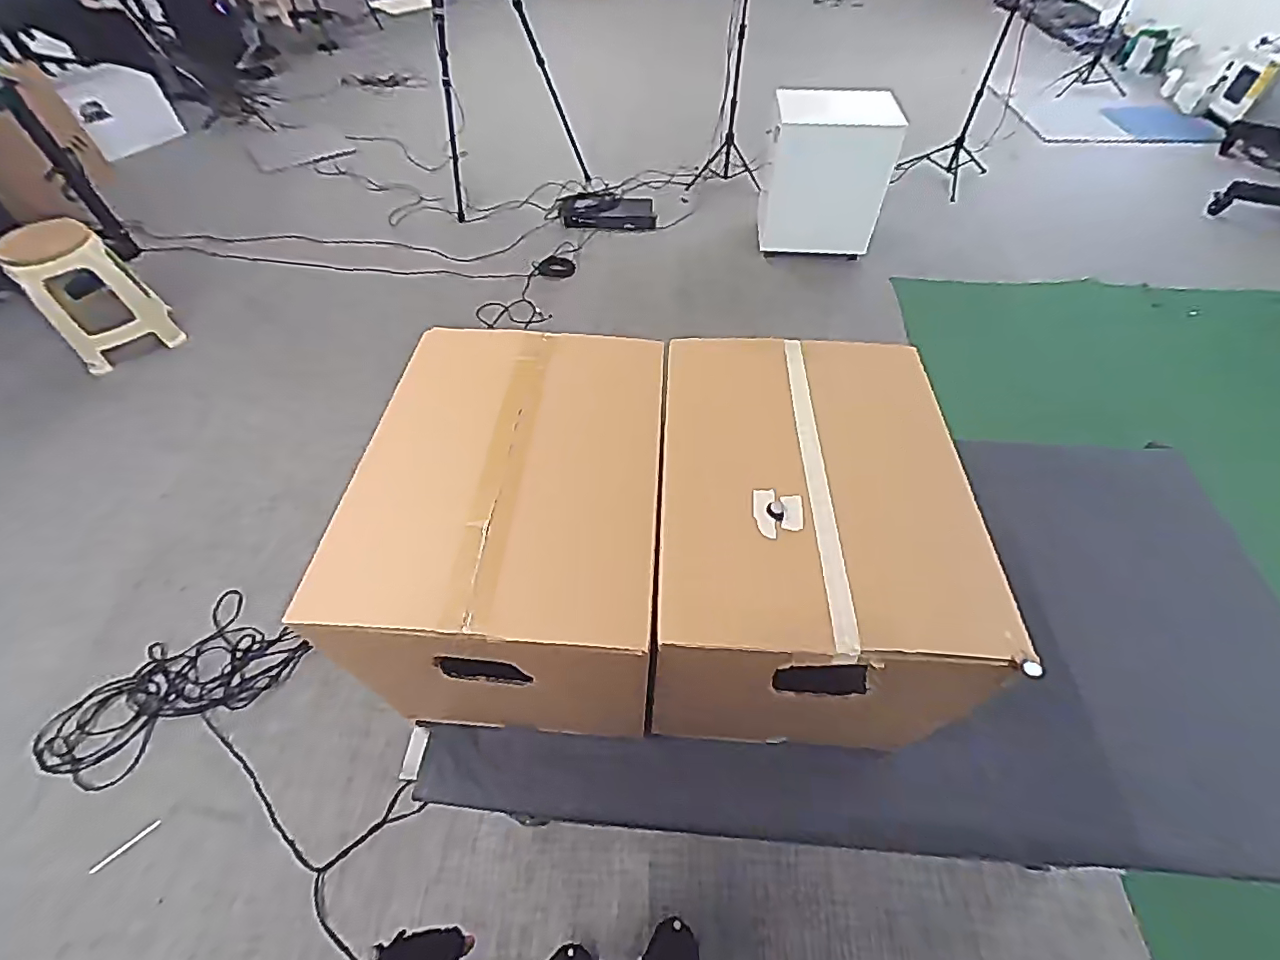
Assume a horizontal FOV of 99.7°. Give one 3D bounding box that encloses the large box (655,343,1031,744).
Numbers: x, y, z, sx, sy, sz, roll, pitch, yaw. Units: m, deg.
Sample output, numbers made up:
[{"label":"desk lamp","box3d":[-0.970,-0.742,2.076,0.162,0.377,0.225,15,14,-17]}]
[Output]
[{"label":"large box","box3d":[0.179,0.079,0.685,0.320,0.320,0.408,2,53,3]}]
